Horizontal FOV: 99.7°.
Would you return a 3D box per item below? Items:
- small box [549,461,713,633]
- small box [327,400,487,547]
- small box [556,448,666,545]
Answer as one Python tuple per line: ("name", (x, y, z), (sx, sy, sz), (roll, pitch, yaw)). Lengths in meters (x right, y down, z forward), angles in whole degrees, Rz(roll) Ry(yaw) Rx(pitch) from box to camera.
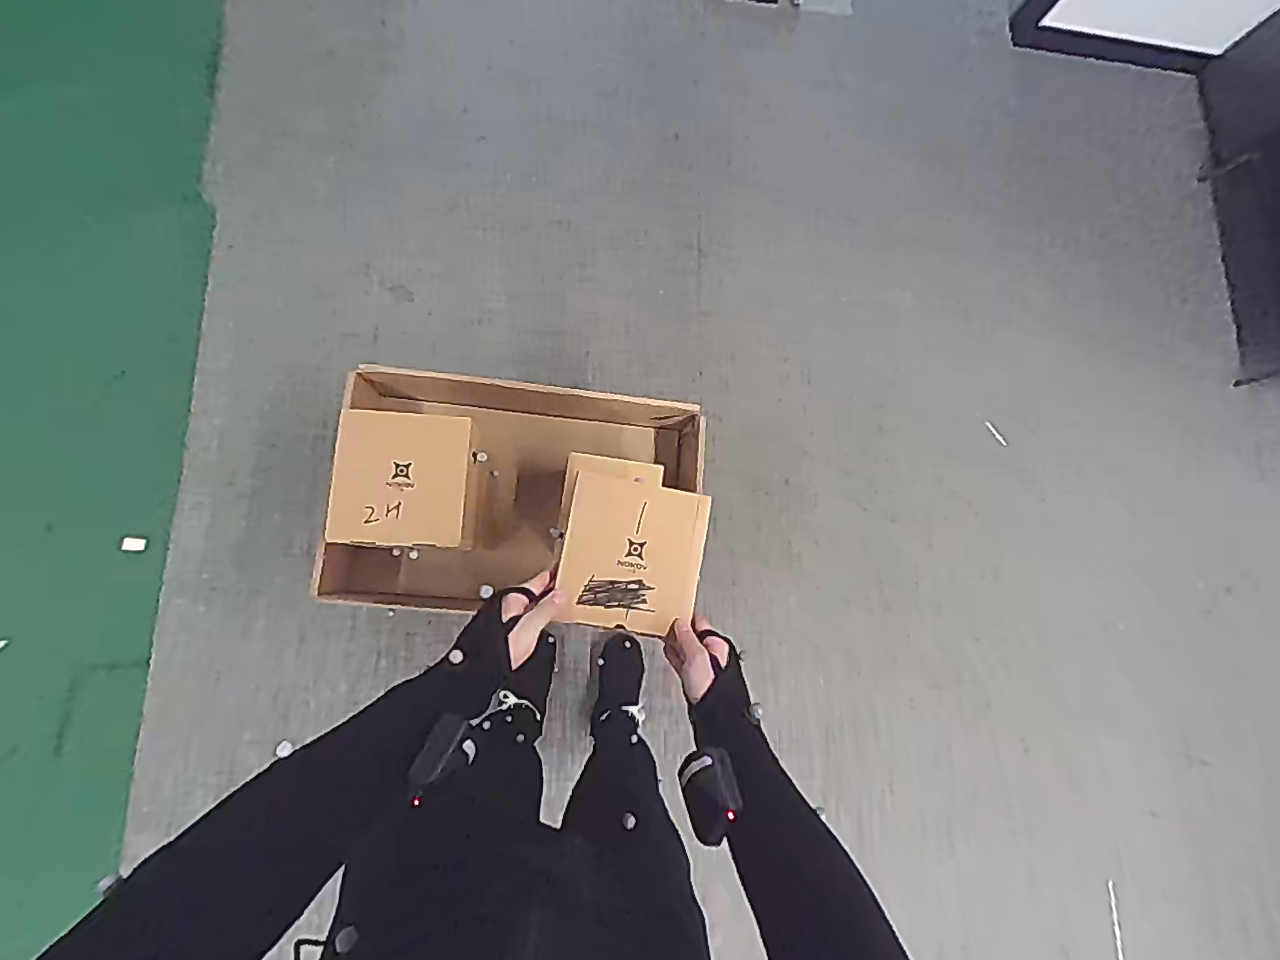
("small box", (-0.019, 0.084, 0.706), (0.168, 0.176, 0.179), (12, 83, -8))
("small box", (-0.317, 0.000, 0.775), (0.168, 0.176, 0.179), (4, 81, -8))
("small box", (-0.059, 0.054, 0.979), (0.168, 0.176, 0.179), (8, 81, -8))
